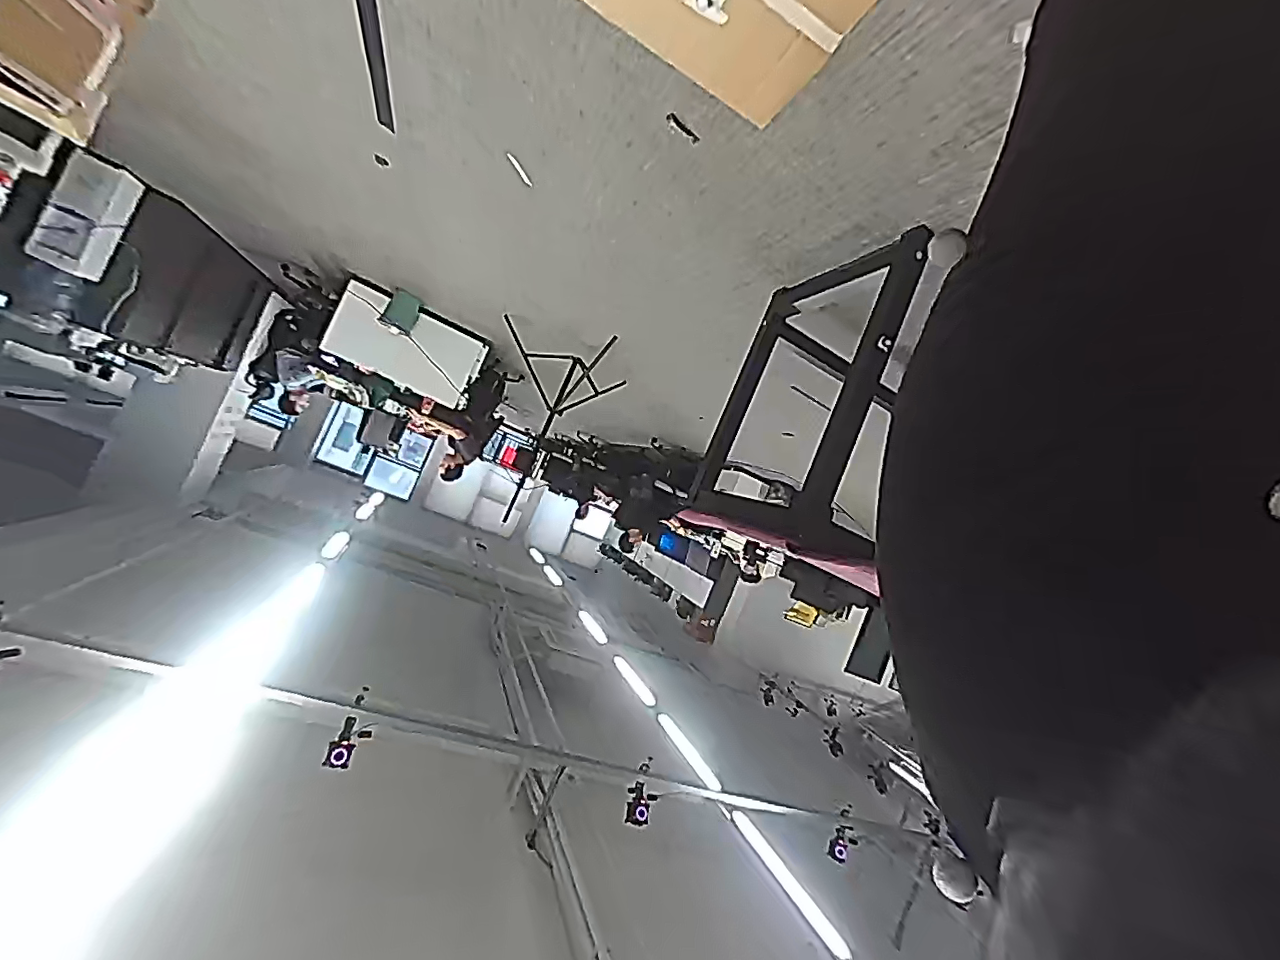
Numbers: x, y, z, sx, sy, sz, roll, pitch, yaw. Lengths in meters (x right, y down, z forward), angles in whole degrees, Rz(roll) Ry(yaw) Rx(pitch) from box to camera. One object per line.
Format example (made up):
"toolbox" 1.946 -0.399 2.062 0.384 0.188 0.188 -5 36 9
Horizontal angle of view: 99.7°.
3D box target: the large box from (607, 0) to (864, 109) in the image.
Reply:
"large box" 0.080 -0.654 0.468 0.408 0.320 0.320 23 178 -16
